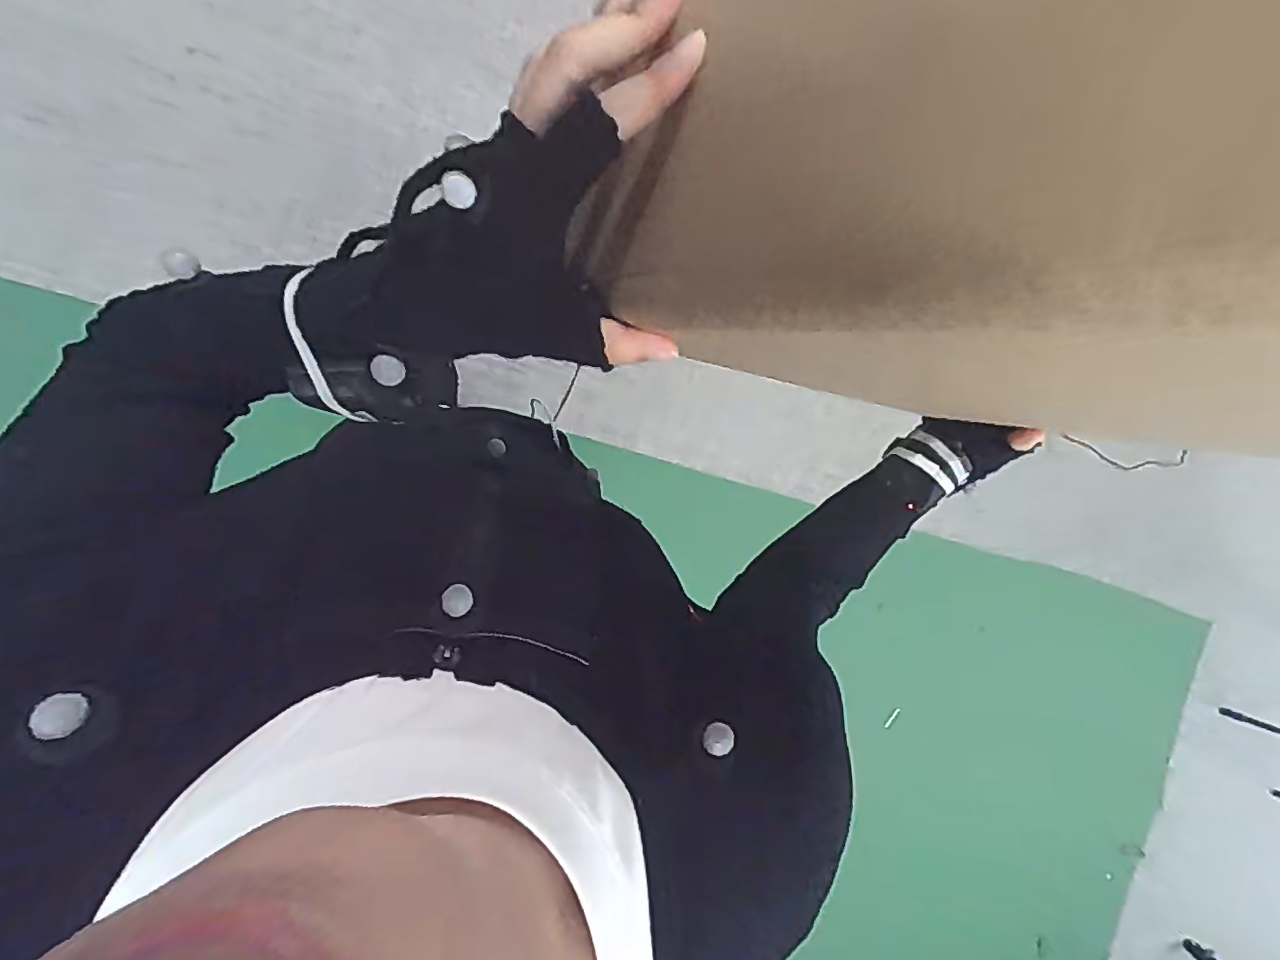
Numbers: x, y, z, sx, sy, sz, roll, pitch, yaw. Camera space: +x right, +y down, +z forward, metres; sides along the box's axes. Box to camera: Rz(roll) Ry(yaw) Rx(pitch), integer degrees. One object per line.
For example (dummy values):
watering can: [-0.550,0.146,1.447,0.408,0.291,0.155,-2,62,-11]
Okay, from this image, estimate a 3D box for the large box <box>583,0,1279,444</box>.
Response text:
large box: [0.229,-0.193,0.261,0.408,0.320,0.320,3,101,-36]
